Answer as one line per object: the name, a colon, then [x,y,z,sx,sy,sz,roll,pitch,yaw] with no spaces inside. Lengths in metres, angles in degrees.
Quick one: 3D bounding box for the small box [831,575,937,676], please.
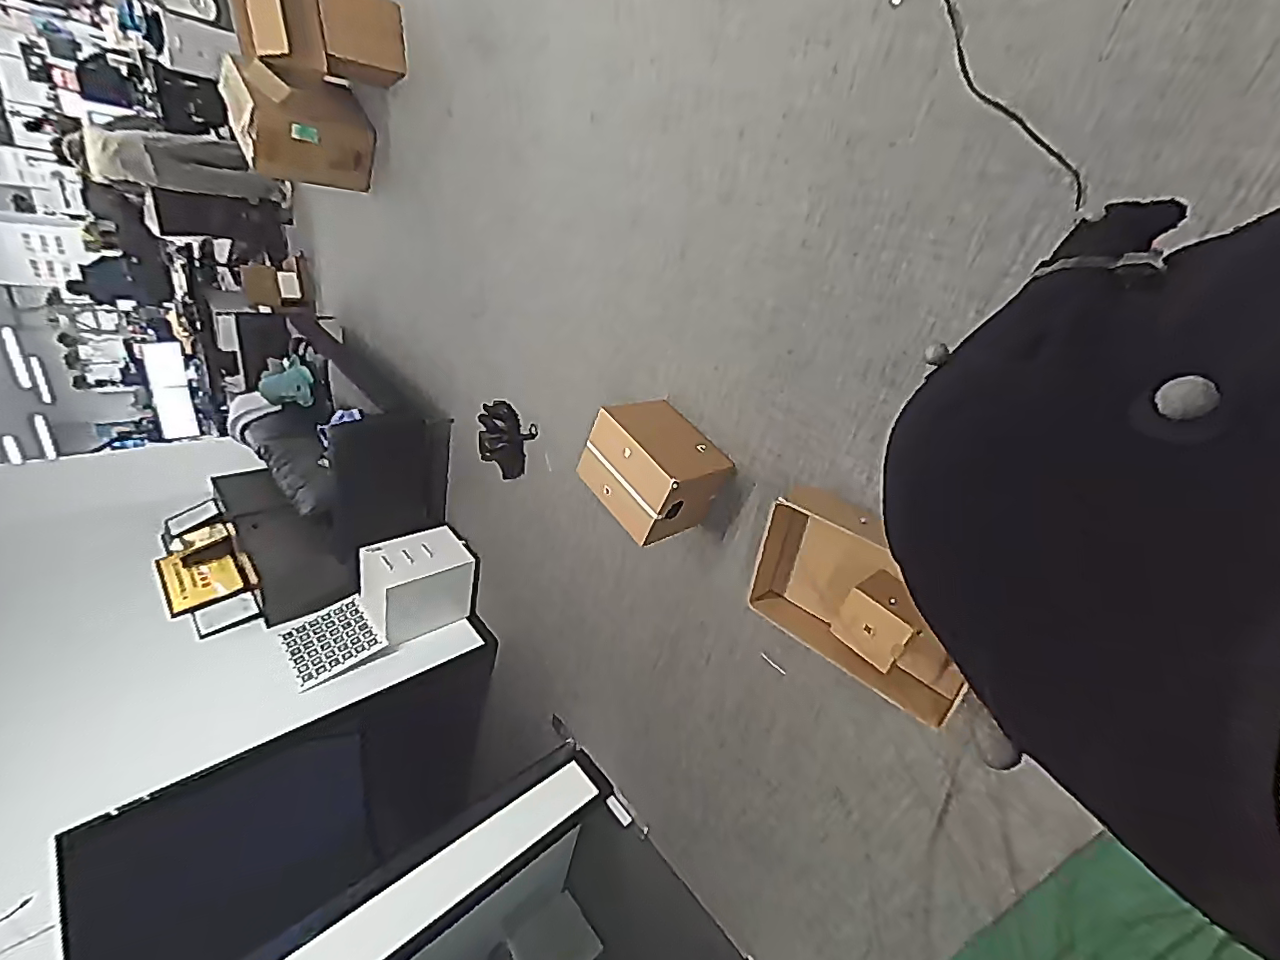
small box: [0.661,0.383,1.460,0.179,0.176,0.168,38,126,36]
